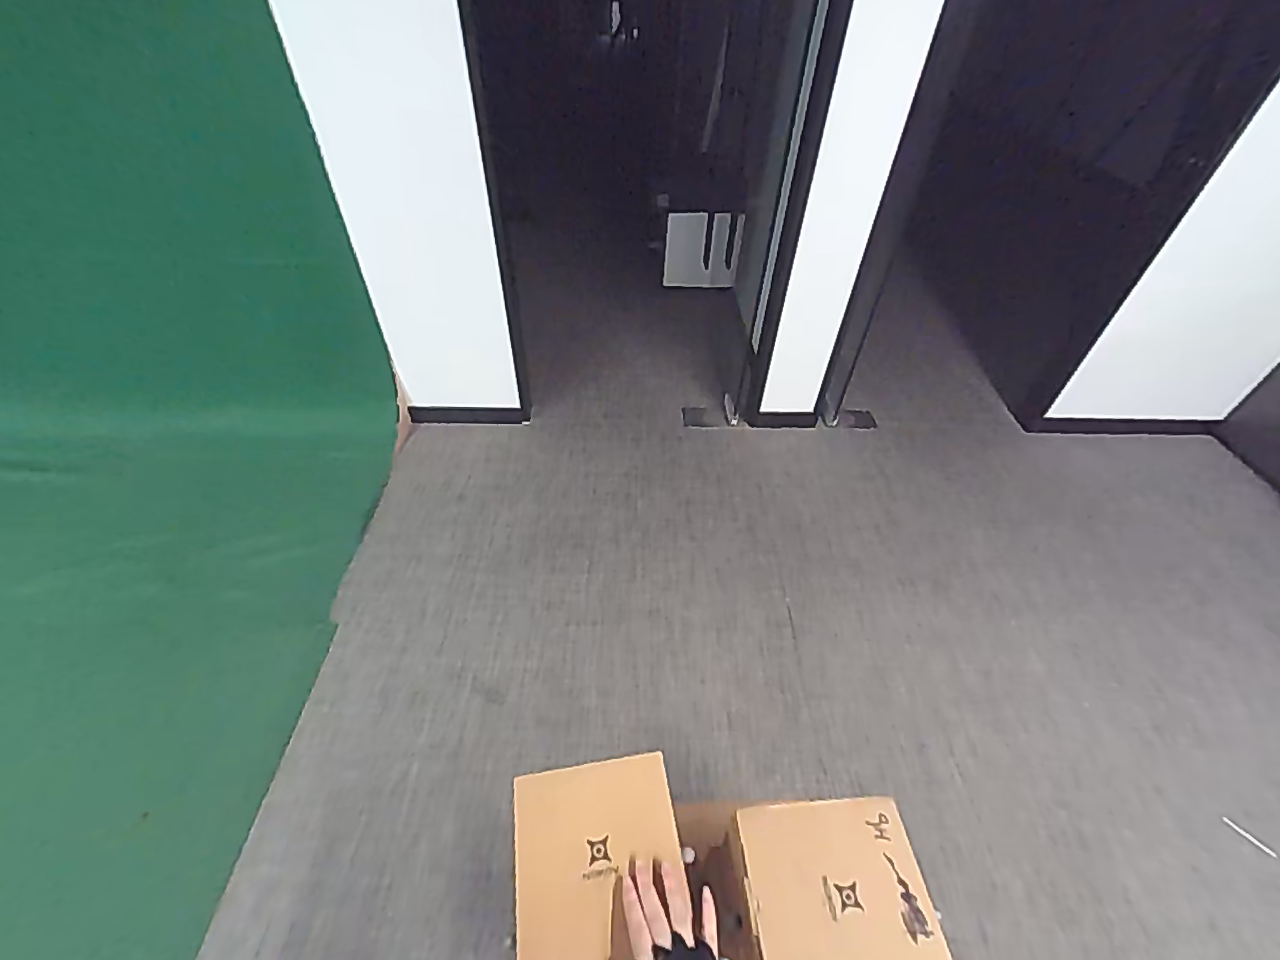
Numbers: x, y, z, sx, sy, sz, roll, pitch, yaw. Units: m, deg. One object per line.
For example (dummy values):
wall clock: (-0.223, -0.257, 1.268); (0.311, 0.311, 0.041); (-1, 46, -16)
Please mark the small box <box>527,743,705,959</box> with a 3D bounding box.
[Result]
small box: (-0.037, 0.425, 0.606); (0.168, 0.176, 0.179); (-5, 47, -9)
